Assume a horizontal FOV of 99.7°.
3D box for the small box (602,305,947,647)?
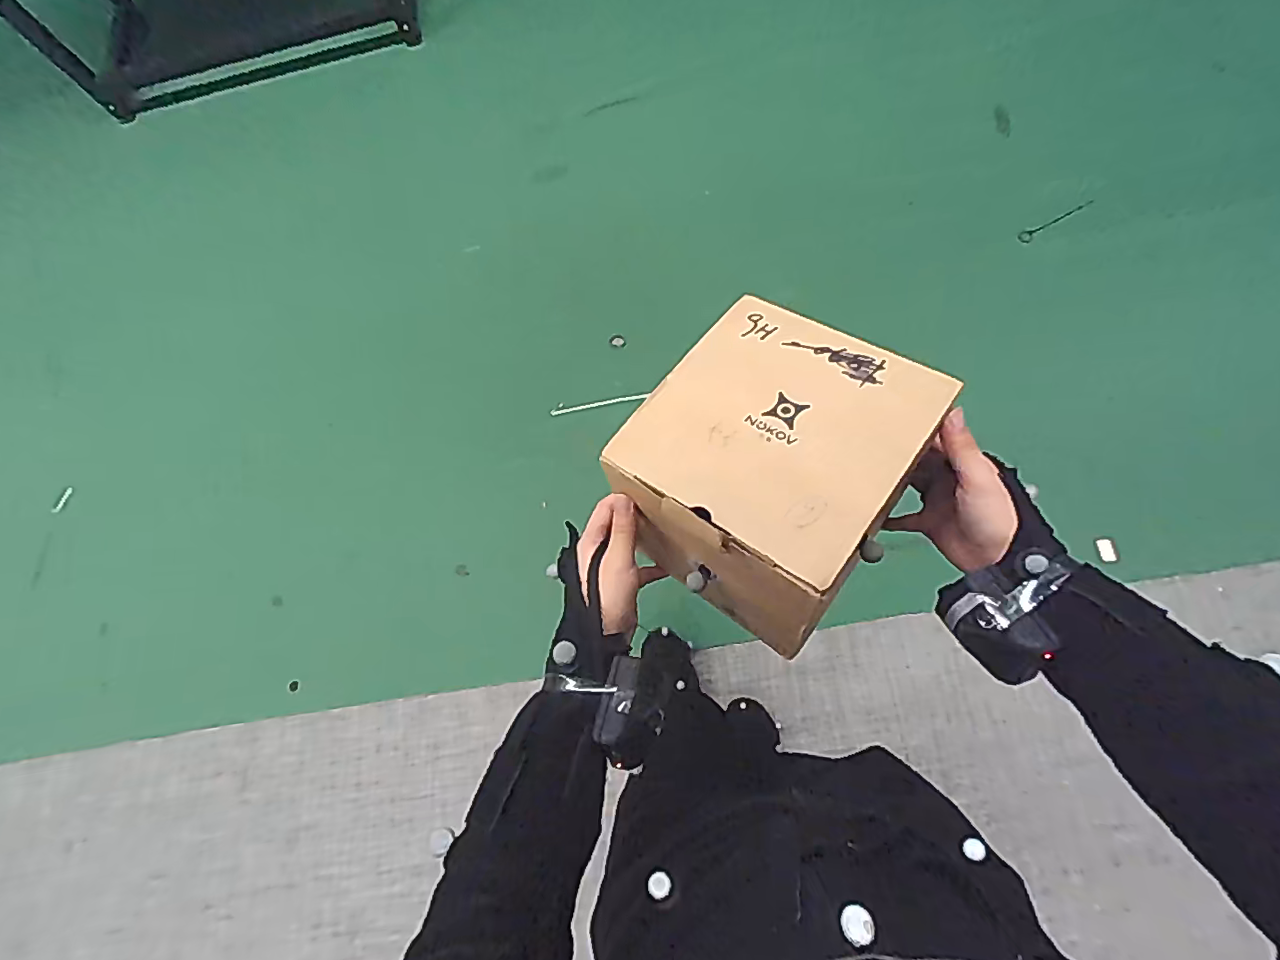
[{"bbox_3d":[0.100,0.004,0.427,0.168,0.176,0.179,32,71,25],"label":"small box"}]
